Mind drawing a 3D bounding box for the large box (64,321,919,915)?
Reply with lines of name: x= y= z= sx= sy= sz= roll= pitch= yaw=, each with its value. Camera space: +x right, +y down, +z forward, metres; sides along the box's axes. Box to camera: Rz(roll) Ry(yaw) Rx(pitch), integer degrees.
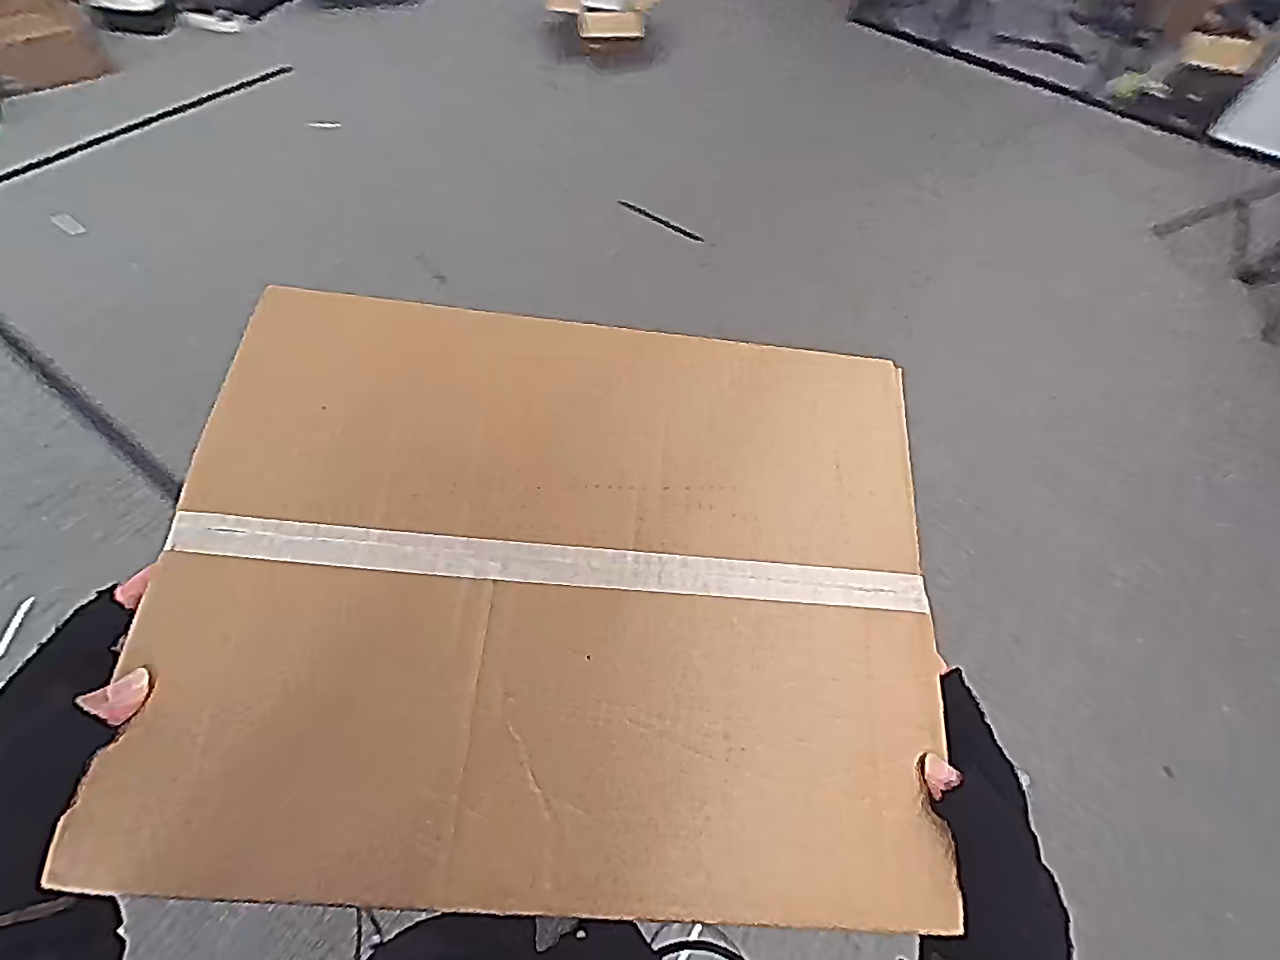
large box: x=-0.064 y=0.104 z=0.441 sx=0.408 sy=0.320 sz=0.320 roll=4 pitch=69 yaw=-4
